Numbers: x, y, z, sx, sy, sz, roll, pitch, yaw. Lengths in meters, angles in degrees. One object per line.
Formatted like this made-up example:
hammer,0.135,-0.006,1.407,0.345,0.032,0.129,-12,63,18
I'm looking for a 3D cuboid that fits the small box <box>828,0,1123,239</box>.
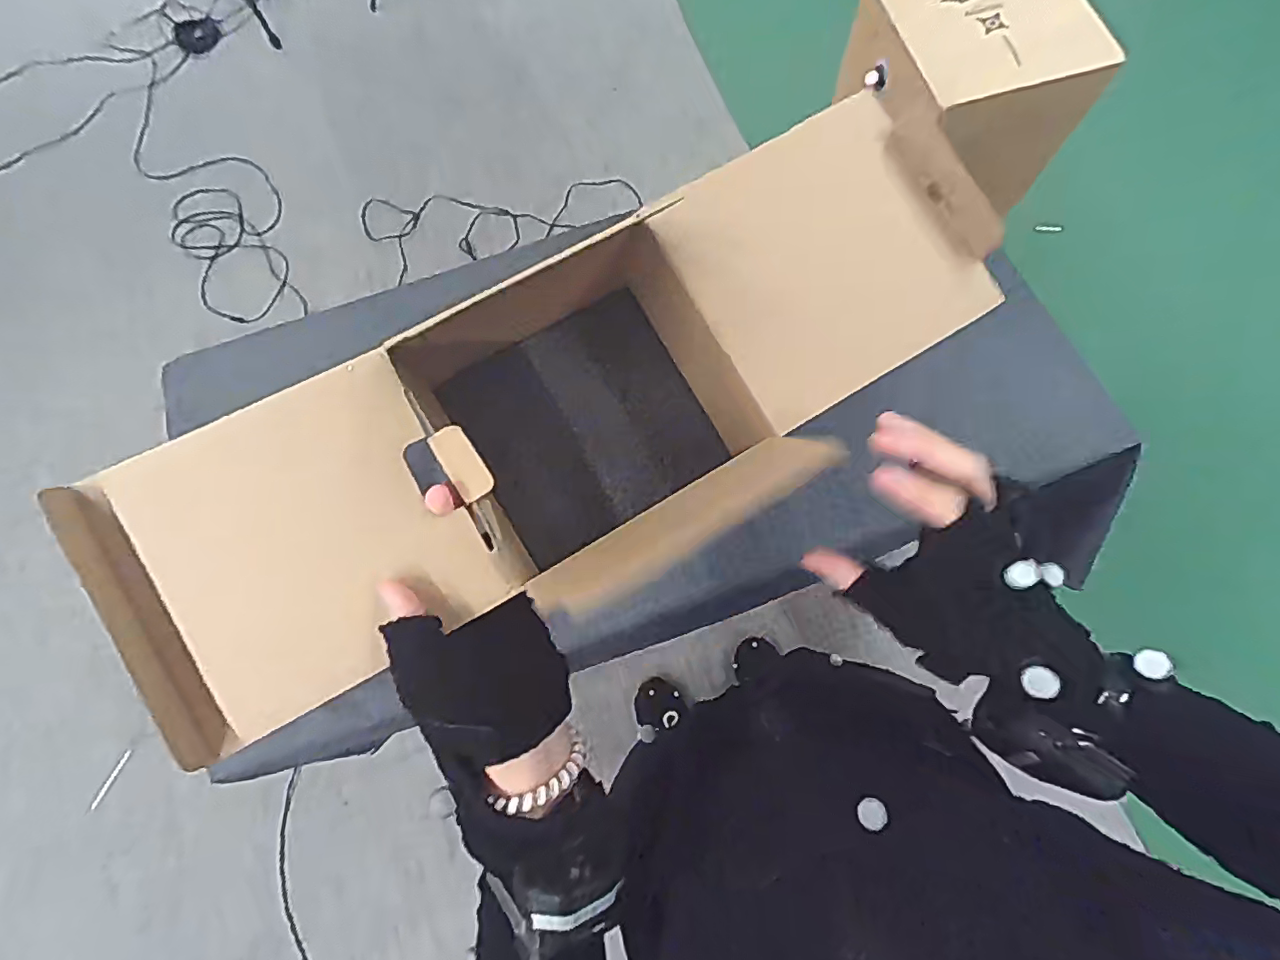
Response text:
small box,0.314,-0.388,0.556,0.168,0.176,0.179,-14,73,0
